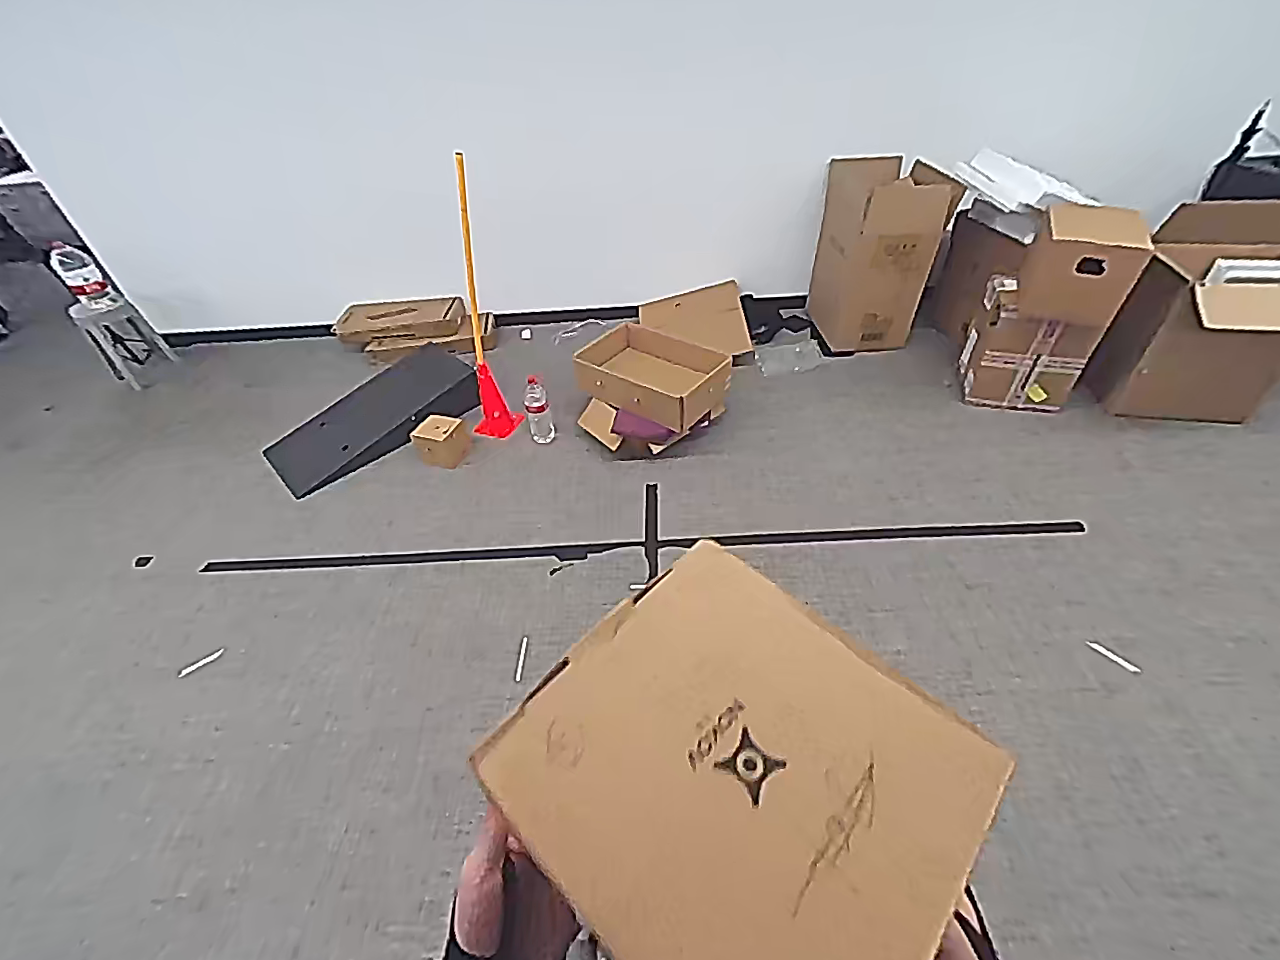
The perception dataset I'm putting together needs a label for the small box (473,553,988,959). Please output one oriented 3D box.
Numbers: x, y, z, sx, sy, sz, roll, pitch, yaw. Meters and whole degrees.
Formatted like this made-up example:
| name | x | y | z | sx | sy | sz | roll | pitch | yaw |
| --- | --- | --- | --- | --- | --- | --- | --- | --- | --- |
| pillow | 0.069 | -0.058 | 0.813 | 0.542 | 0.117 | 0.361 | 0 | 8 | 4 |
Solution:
| name | x | y | z | sx | sy | sz | roll | pitch | yaw |
| --- | --- | --- | --- | --- | --- | --- | --- | --- | --- |
| small box | 0.039 | 0.182 | 0.302 | 0.179 | 0.176 | 0.168 | 35 | 57 | 26 |
